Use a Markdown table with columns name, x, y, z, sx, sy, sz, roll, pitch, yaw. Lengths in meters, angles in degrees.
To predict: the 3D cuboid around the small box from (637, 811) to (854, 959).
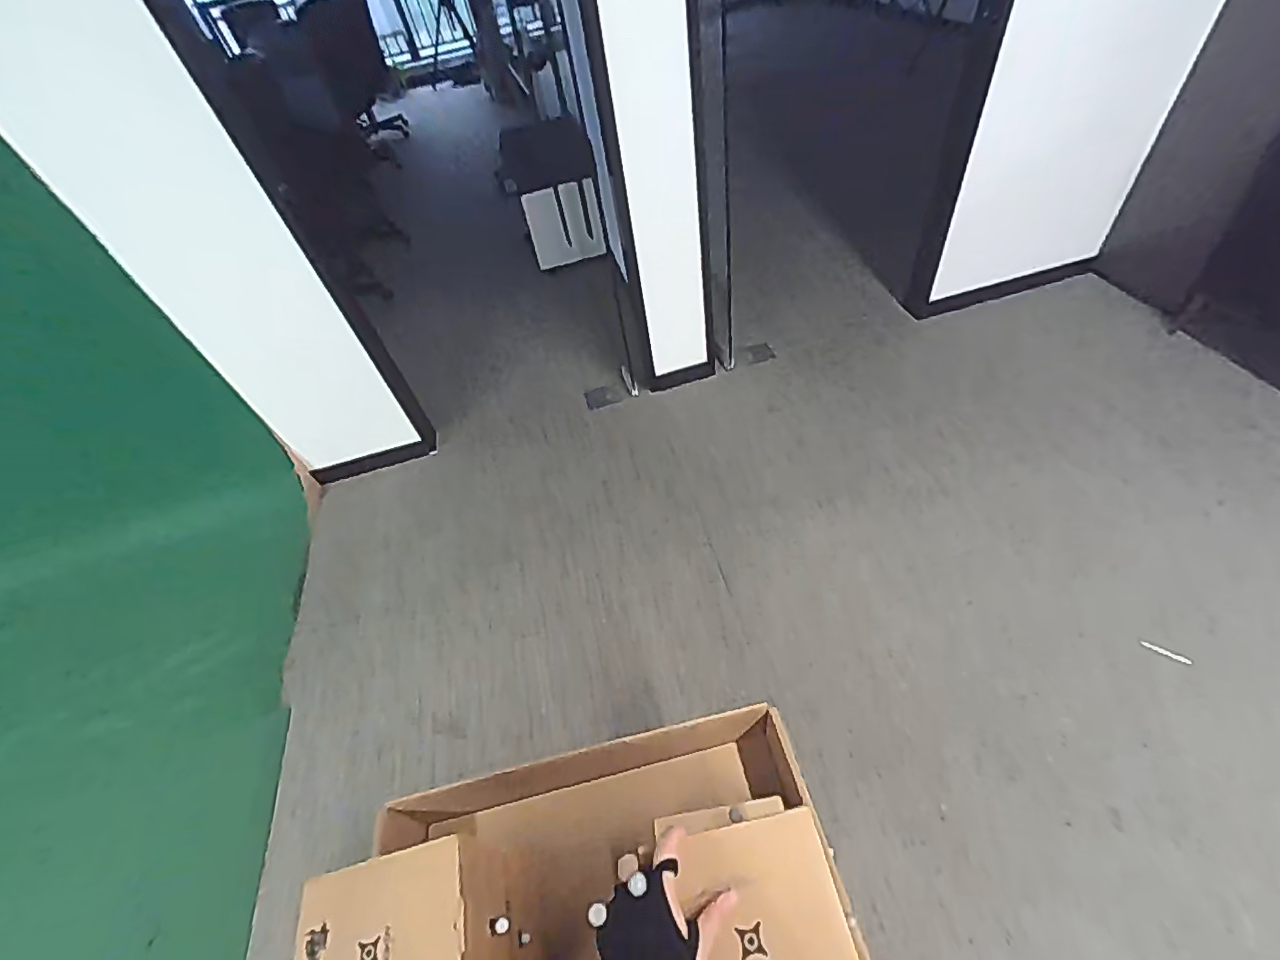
| name | x | y | z | sx | sy | sz | roll | pitch | yaw |
| --- | --- | --- | --- | --- | --- | --- | --- | --- | --- |
| small box | 0.102 | 0.432 | 0.511 | 0.168 | 0.176 | 0.179 | -13 | 55 | 0 |

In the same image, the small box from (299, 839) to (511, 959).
| name | x | y | z | sx | sy | sz | roll | pitch | yaw |
| --- | --- | --- | --- | --- | --- | --- | --- | --- | --- |
| small box | -0.247 | 0.526 | 0.601 | 0.179 | 0.176 | 0.168 | -16 | 48 | -3 |
